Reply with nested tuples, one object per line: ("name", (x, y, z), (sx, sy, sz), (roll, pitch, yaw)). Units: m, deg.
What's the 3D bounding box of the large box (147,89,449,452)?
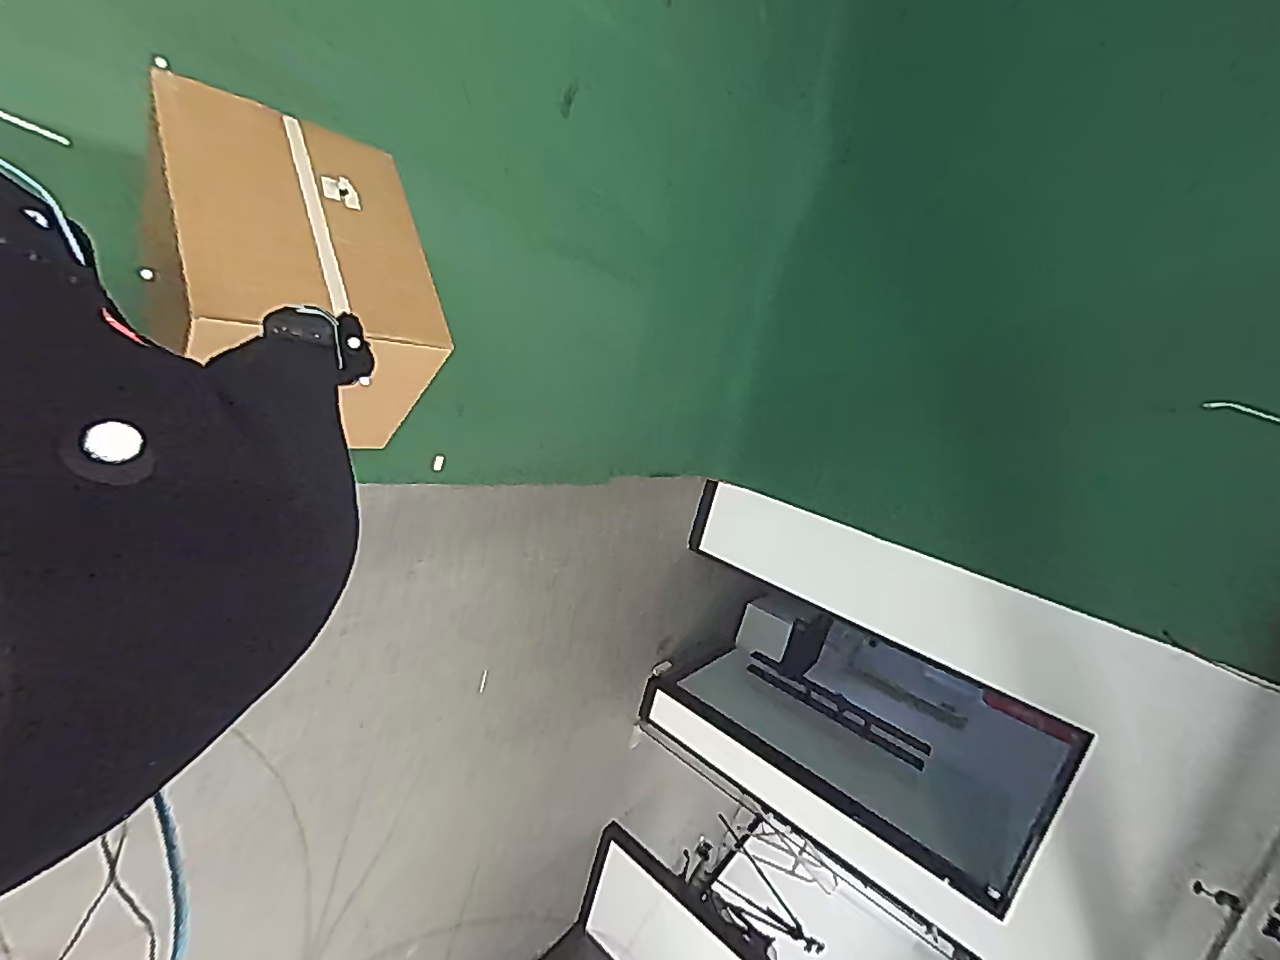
("large box", (-0.565, -0.293, 0.875), (0.320, 0.408, 0.320), (-5, 156, -47))
